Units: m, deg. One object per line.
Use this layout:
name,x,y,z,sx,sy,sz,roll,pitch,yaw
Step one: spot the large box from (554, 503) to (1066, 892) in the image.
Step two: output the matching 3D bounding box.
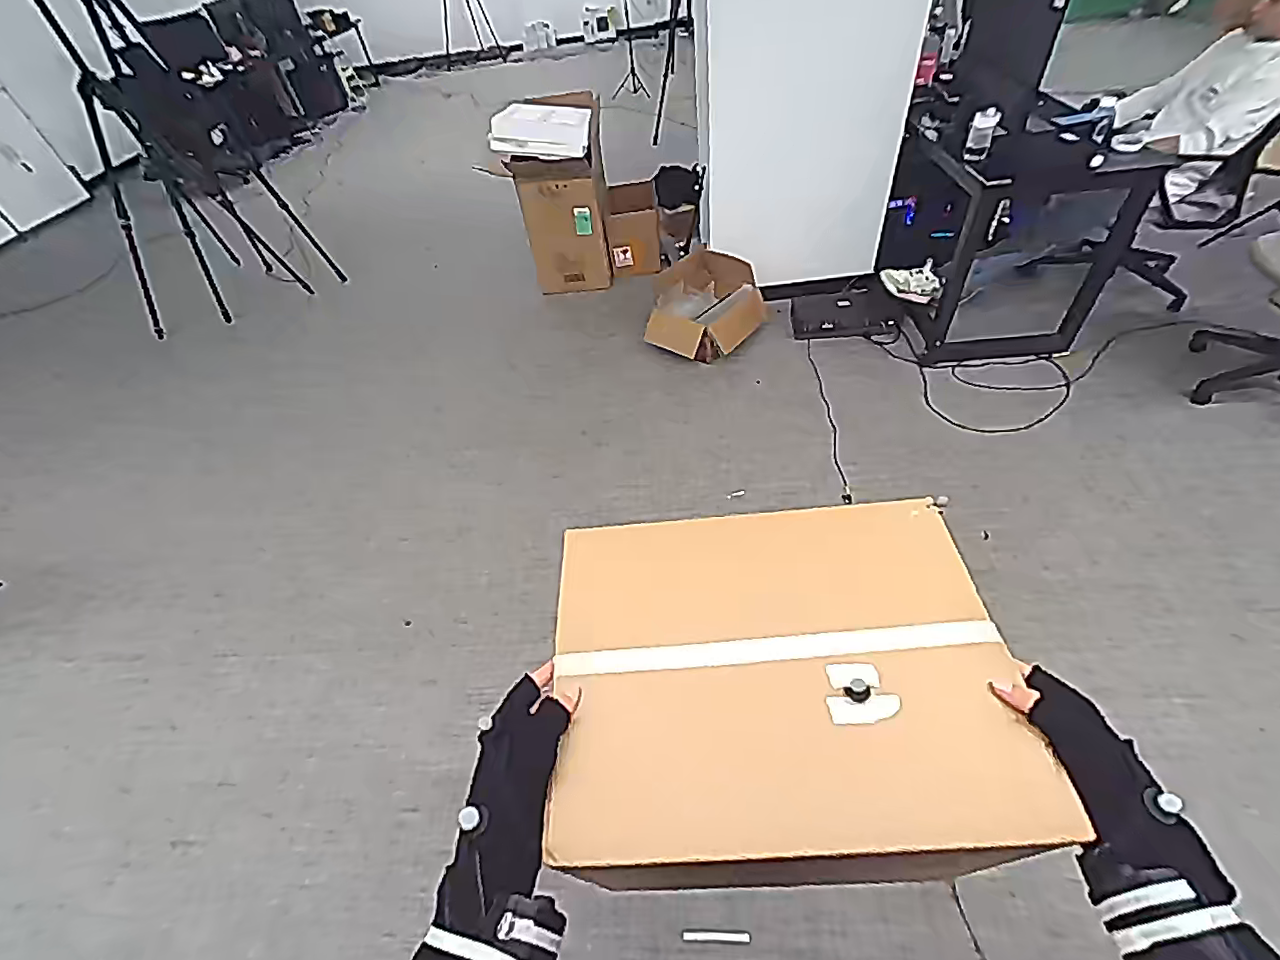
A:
large box,0.136,0.258,0.624,0.408,0.320,0.320,-6,49,4
